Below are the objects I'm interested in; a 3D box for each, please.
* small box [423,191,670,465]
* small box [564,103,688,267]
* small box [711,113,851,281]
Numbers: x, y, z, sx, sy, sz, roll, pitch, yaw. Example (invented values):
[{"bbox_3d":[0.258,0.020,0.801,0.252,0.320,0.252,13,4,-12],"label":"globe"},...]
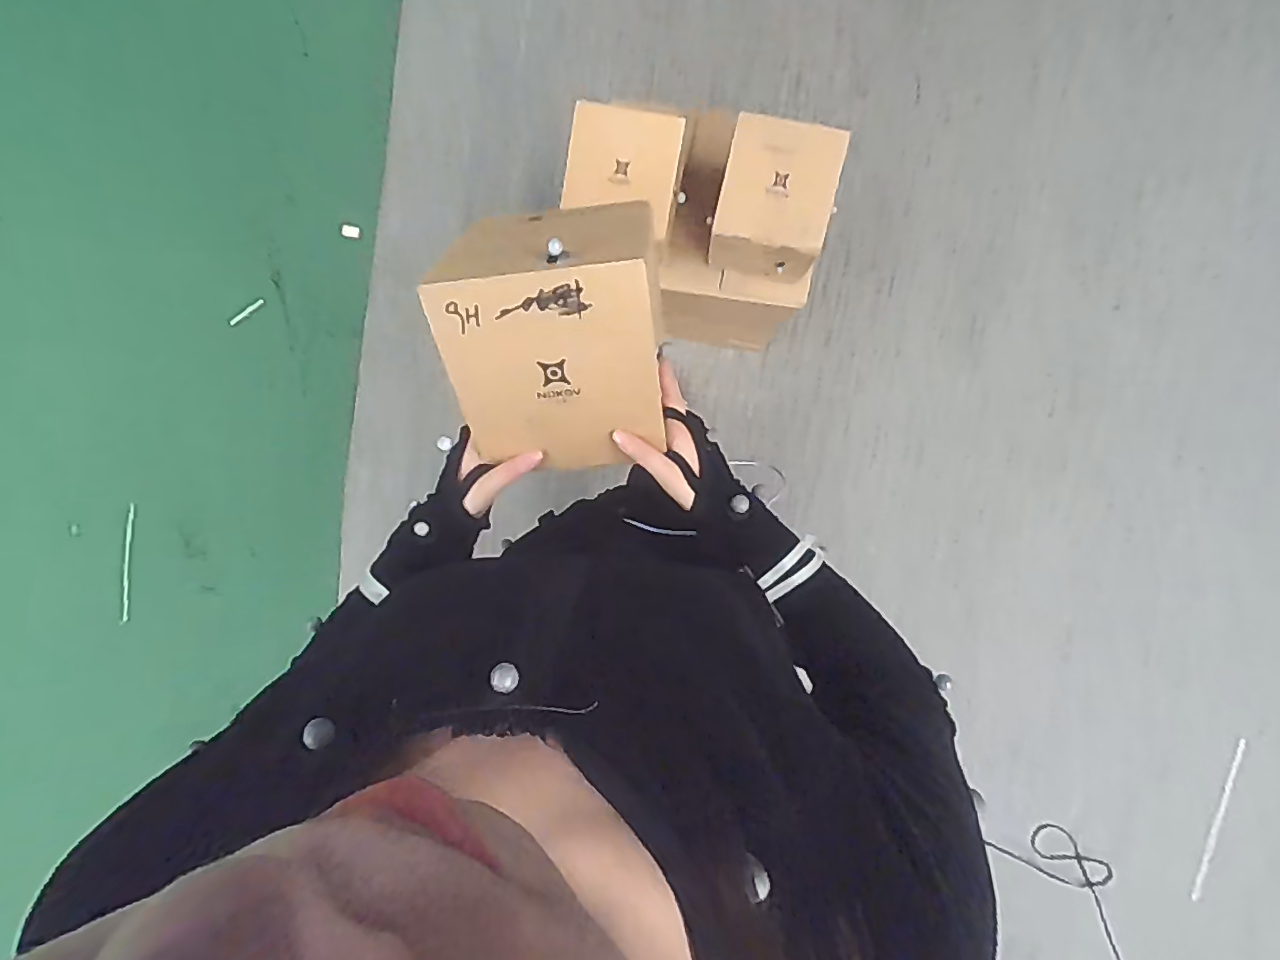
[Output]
[{"bbox_3d":[-0.060,-0.136,0.486,0.168,0.176,0.179,-5,130,6],"label":"small box"},{"bbox_3d":[-0.022,-0.465,0.881,0.168,0.176,0.179,10,99,1],"label":"small box"},{"bbox_3d":[0.213,-0.436,0.865,0.168,0.176,0.179,14,96,4],"label":"small box"}]
